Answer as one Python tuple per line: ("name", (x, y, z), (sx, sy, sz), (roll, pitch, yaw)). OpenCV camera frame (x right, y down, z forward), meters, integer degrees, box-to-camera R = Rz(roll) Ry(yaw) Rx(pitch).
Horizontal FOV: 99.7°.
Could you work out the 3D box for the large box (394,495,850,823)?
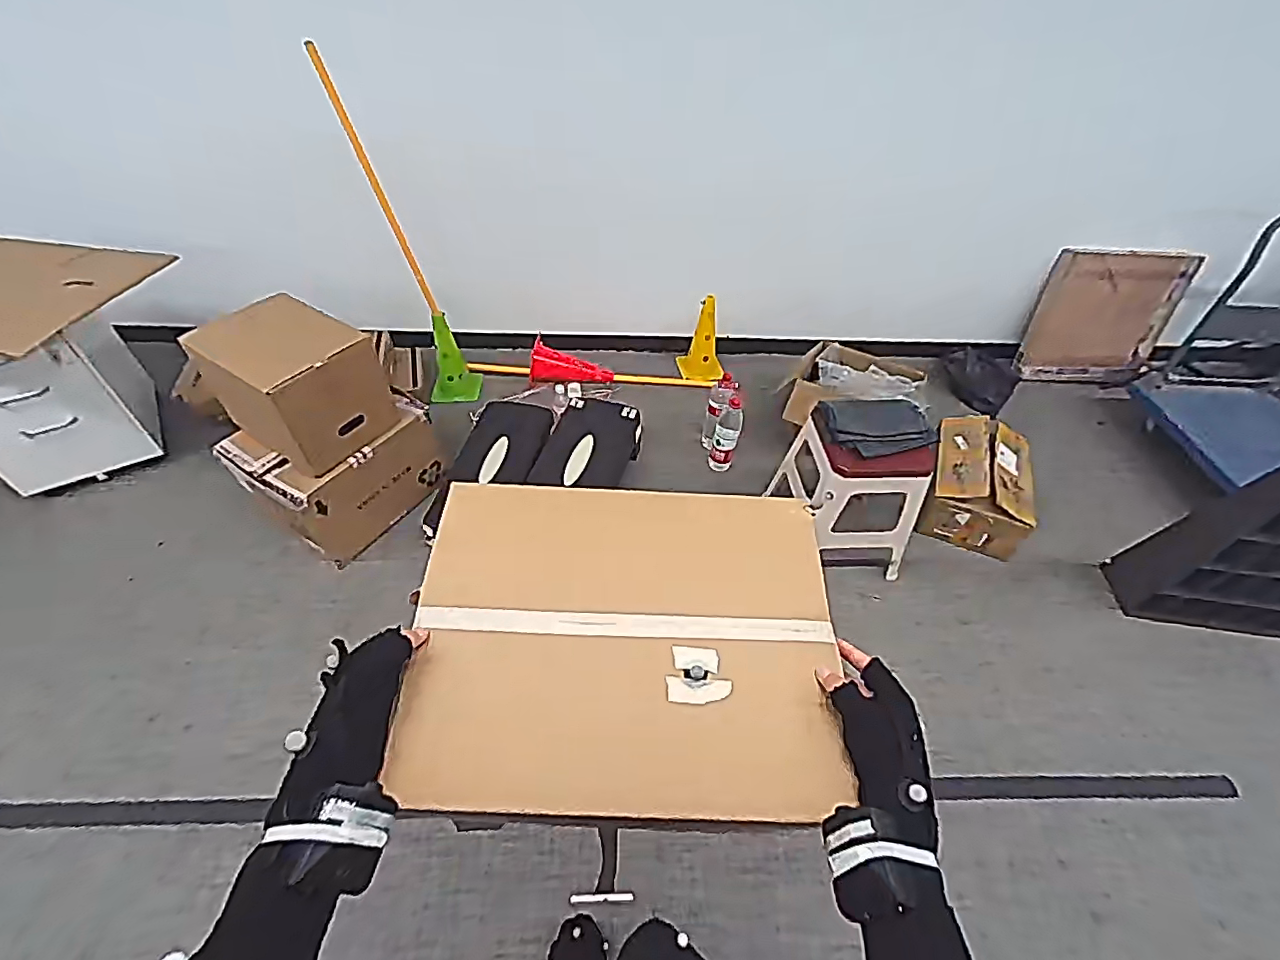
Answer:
("large box", (-0.020, 0.234, 0.669), (0.408, 0.320, 0.320), (3, 56, -2))
